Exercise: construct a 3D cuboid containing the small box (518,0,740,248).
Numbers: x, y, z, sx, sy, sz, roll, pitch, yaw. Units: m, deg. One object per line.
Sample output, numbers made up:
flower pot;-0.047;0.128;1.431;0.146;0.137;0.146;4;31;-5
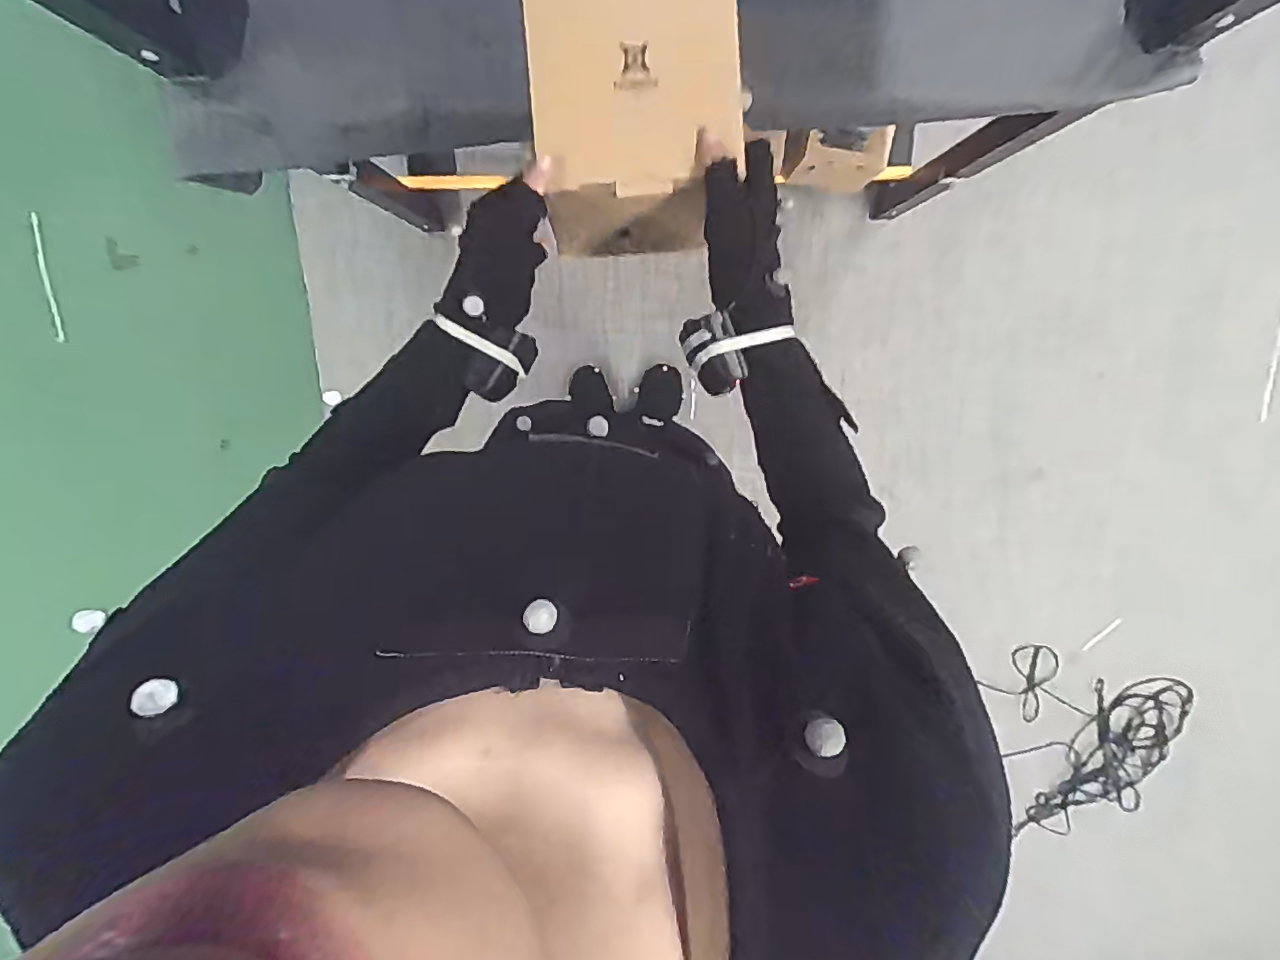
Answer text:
small box;-0.011;-0.330;0.488;0.168;0.176;0.179;-4;96;-1
